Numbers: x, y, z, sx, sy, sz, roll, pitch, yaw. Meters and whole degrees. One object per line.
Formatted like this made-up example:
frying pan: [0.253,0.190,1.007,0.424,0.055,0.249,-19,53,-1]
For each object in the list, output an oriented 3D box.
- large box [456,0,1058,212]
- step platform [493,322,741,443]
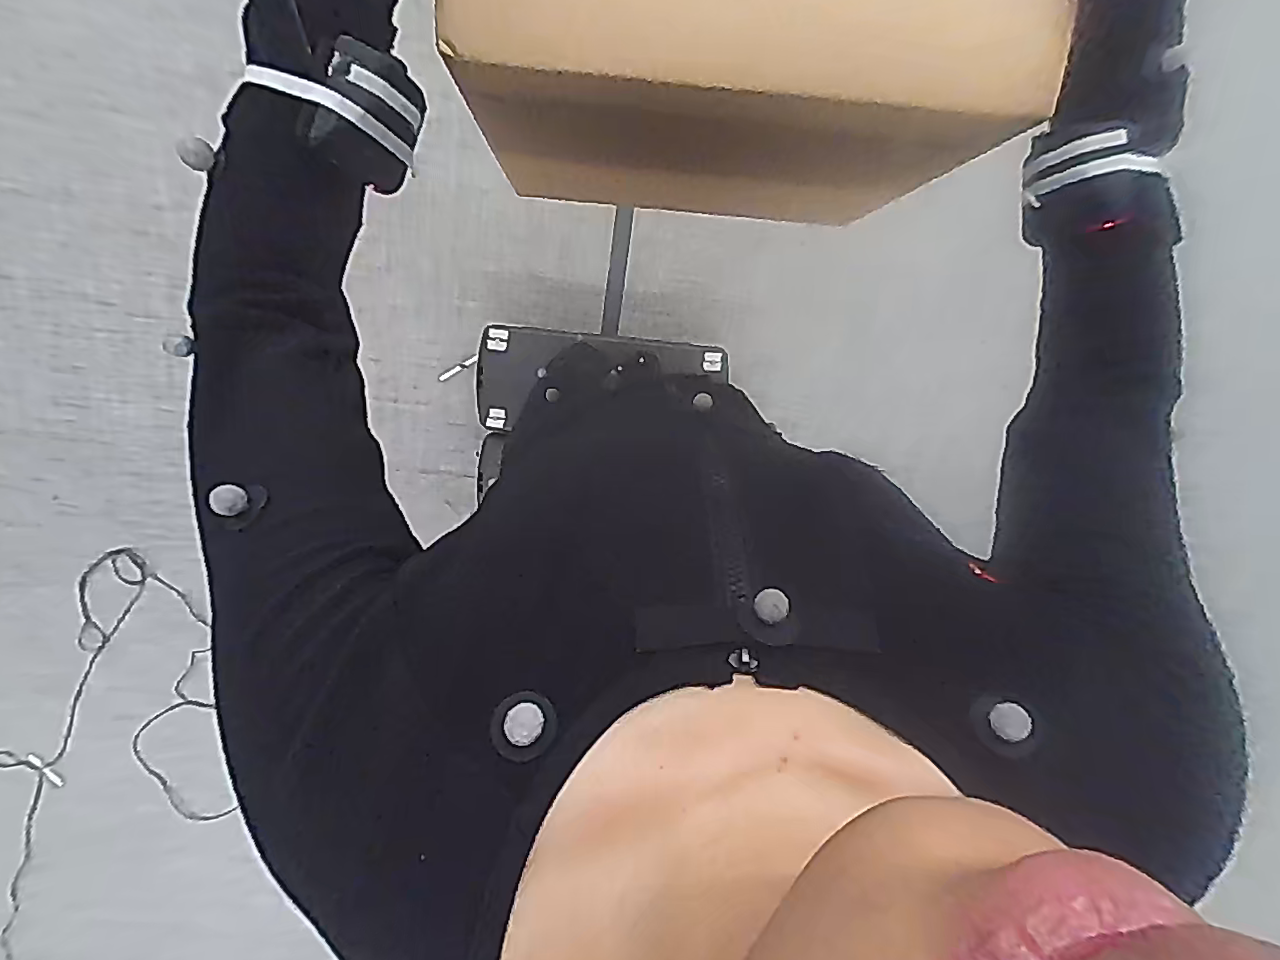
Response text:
large box: [0.073,-0.445,0.469,0.408,0.320,0.320,2,104,-5]
step platform: [-0.062,-0.271,1.525,0.684,0.204,0.286,3,101,-6]
